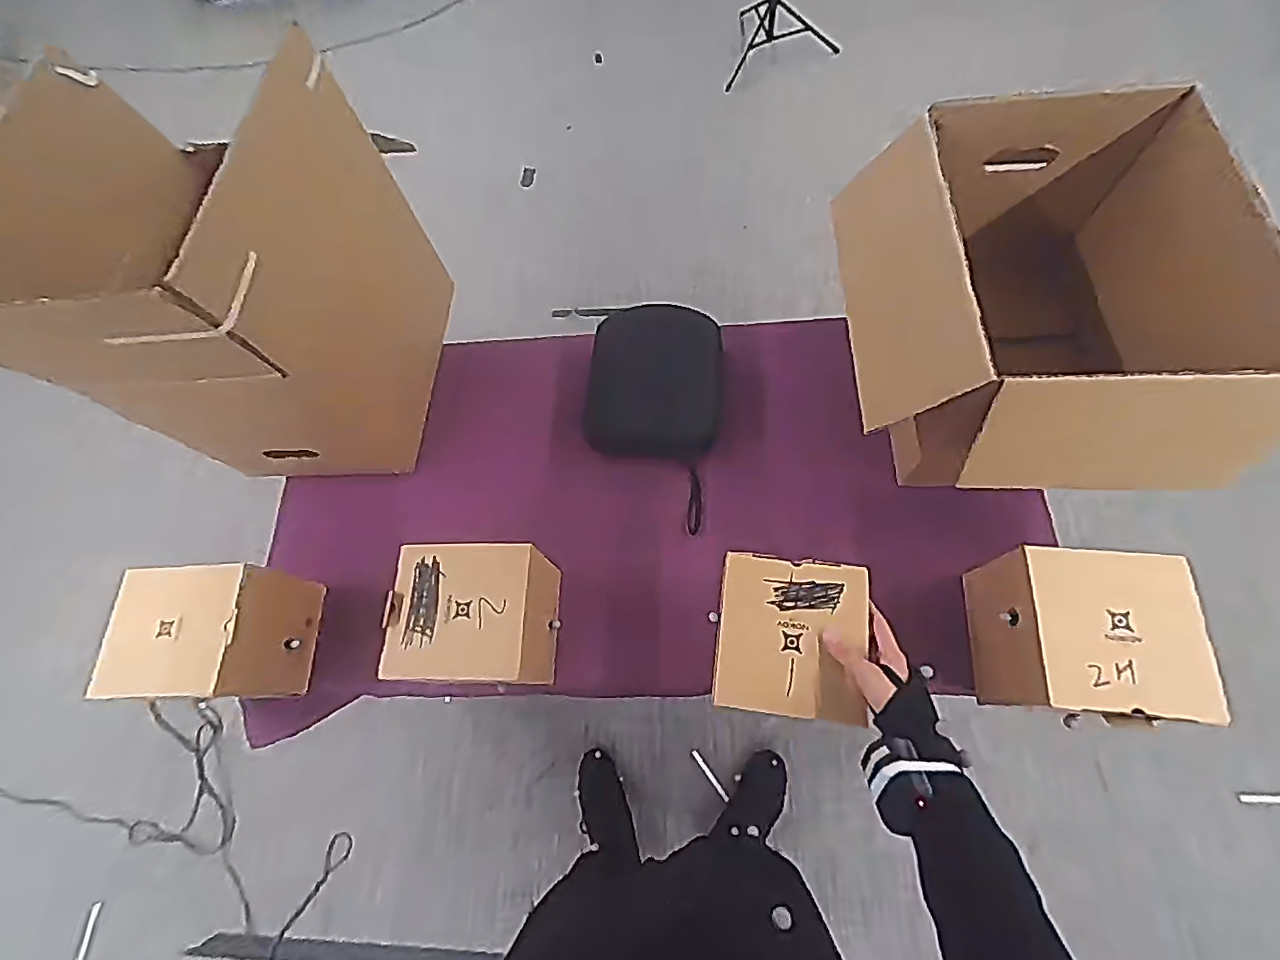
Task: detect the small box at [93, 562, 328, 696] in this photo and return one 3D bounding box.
[{"bbox_3d":[-0.591,0.219,0.771,0.179,0.176,0.168,-3,68,4],"label":"small box"}]

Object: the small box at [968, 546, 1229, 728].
[{"bbox_3d":[0.521,0.191,0.651,0.168,0.176,0.179,3,69,9],"label":"small box"}]
